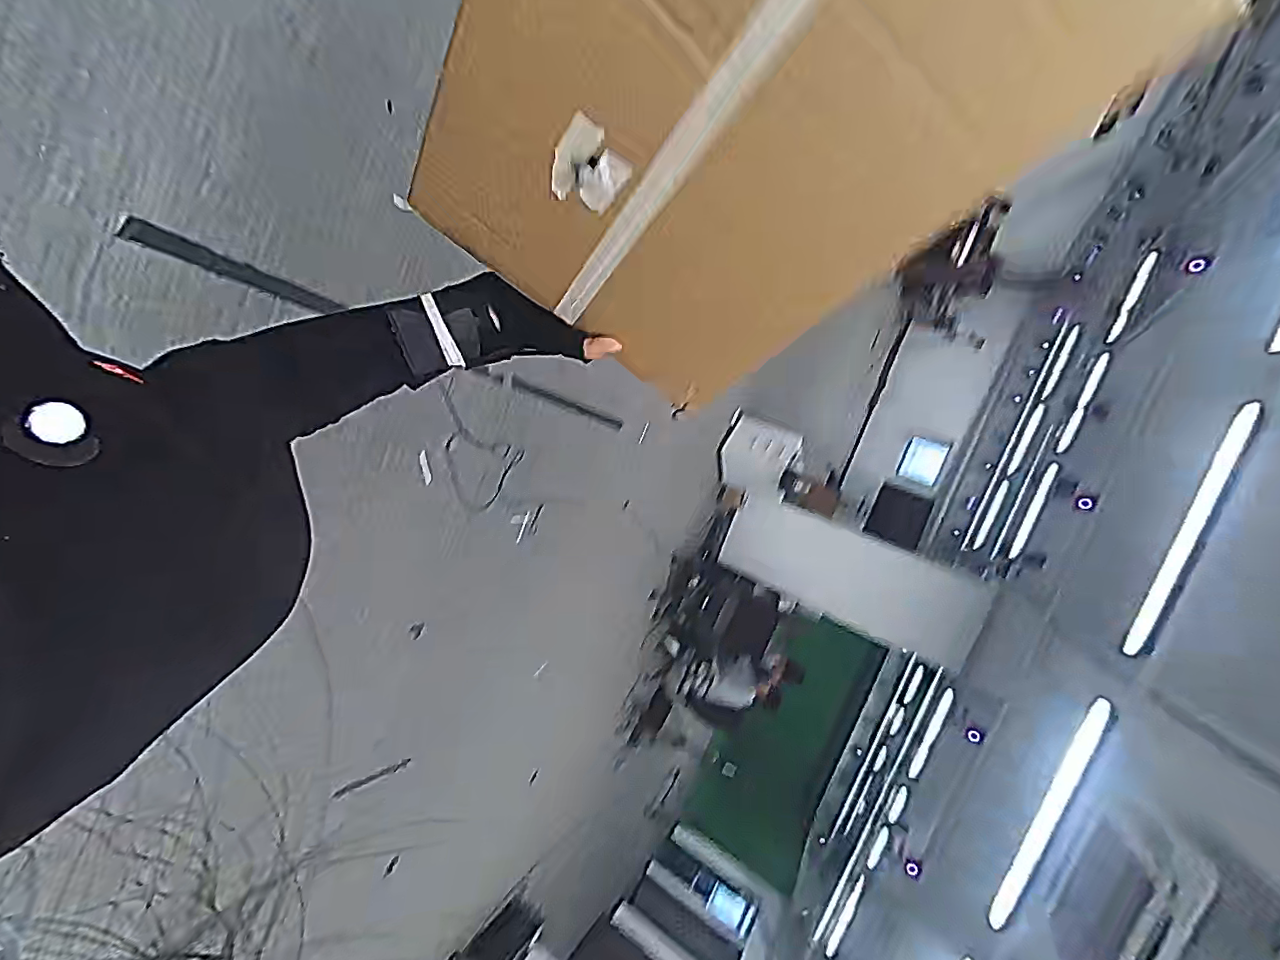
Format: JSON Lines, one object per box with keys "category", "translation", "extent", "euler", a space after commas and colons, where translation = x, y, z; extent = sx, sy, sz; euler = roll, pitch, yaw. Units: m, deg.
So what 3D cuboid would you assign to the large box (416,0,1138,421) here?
{"category": "large box", "translation": [0.065, -0.334, 0.461], "extent": [0.408, 0.320, 0.320], "euler": [-39, -158, 47]}
